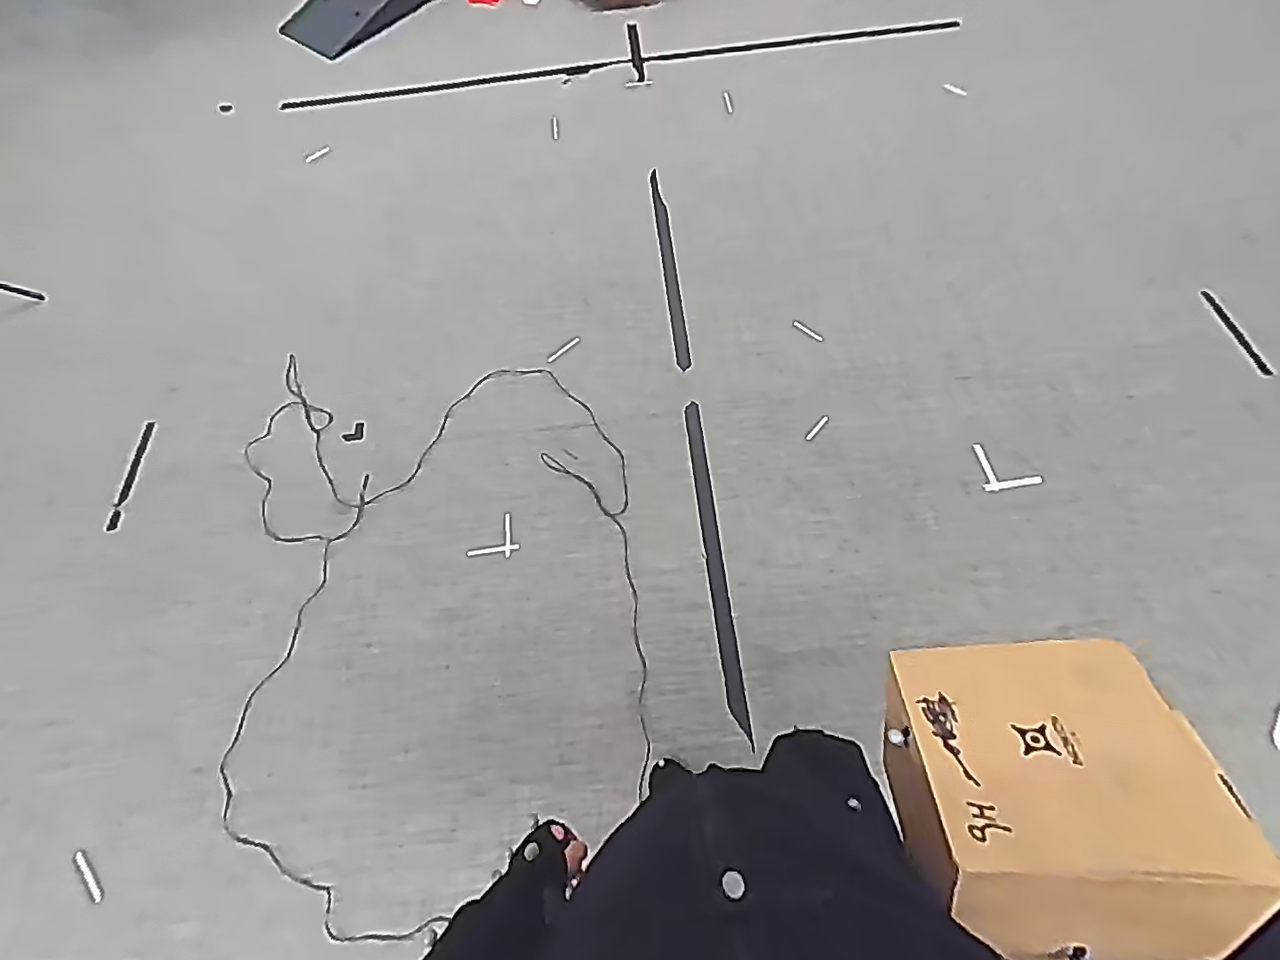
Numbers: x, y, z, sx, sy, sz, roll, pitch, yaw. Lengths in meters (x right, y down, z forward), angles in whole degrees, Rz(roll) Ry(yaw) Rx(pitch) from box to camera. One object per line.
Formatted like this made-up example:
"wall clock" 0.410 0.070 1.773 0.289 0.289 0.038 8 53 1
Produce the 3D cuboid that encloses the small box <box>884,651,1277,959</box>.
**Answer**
"small box" 0.309 0.259 0.435 0.179 0.176 0.168 -6 33 13
